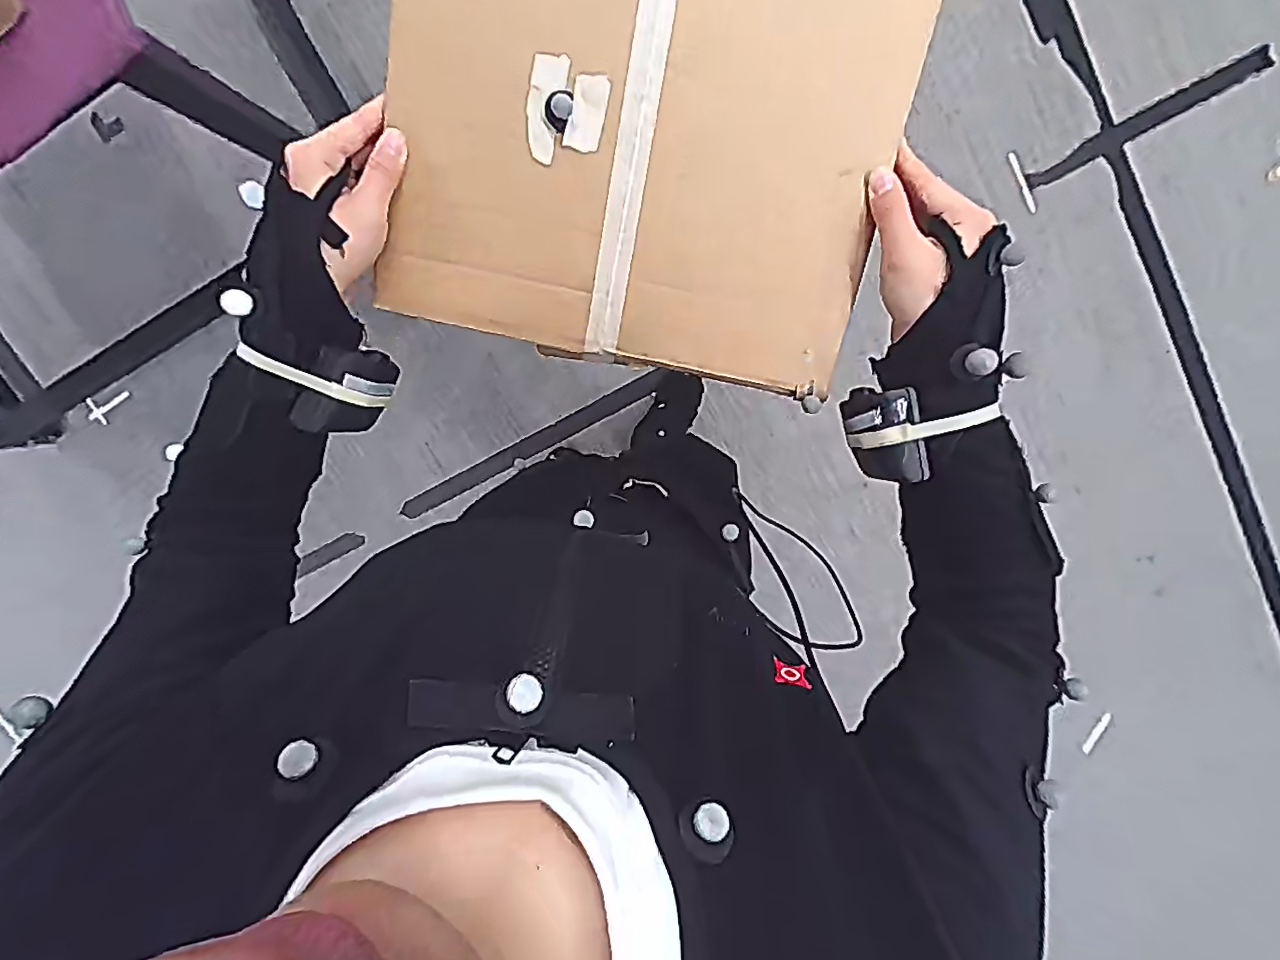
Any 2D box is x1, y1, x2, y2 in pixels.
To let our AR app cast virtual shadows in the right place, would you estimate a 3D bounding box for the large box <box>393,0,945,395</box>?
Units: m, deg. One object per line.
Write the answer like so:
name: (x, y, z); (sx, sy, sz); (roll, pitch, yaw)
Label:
large box: (0.022, -0.312, 0.454); (0.320, 0.320, 0.408); (11, 105, 0)
